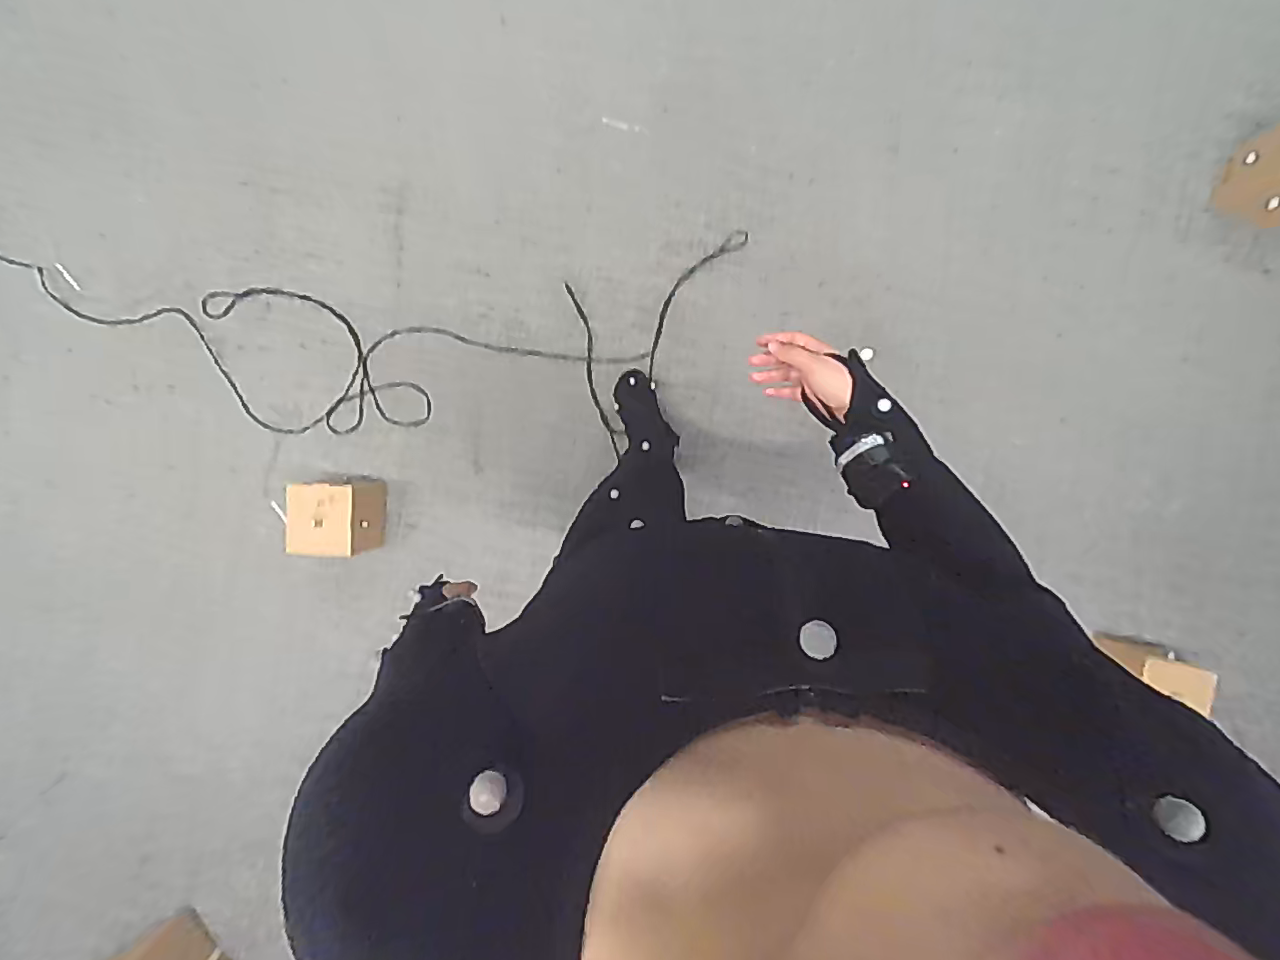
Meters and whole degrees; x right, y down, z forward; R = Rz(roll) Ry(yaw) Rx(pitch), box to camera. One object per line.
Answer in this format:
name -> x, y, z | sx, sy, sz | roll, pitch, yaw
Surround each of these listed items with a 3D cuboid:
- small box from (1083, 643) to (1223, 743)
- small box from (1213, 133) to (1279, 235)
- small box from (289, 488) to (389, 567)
small box -> 1.297, 0.534, 1.379 | 0.179, 0.176, 0.168 | 12, 92, 2
small box -> 1.560, -0.720, 1.295 | 0.179, 0.176, 0.168 | 24, 94, 0
small box -> -0.770, 0.117, 1.397 | 0.168, 0.176, 0.179 | 3, 93, 2
